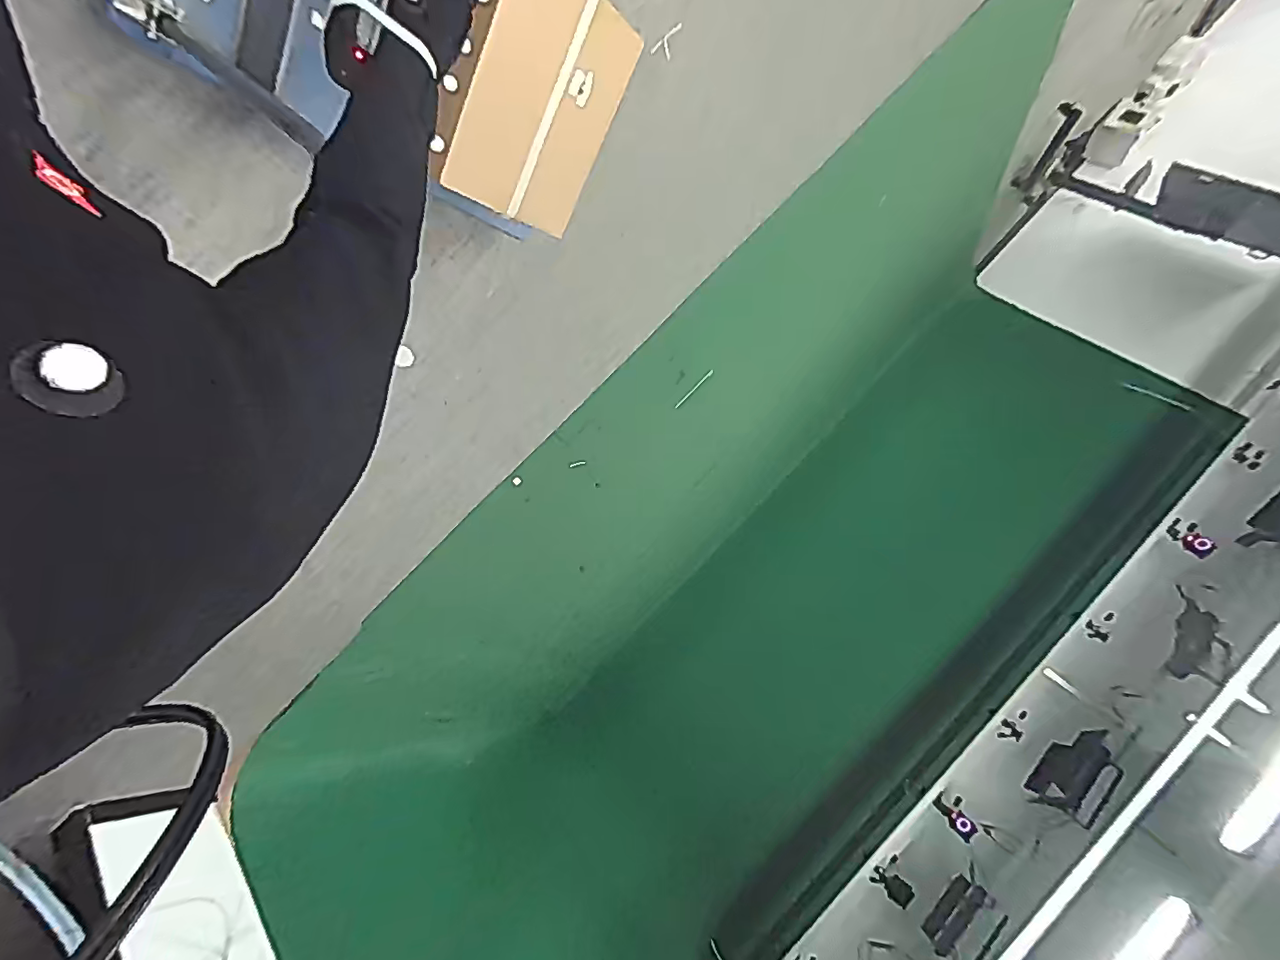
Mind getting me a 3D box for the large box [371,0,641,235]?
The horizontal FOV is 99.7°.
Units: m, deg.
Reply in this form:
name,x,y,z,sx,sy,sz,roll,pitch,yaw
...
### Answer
name,x,y,z,sx,sy,sz,roll,pitch,yaw
large box,-0.274,-0.778,1.069,0.320,0.320,0.408,-5,130,-55
